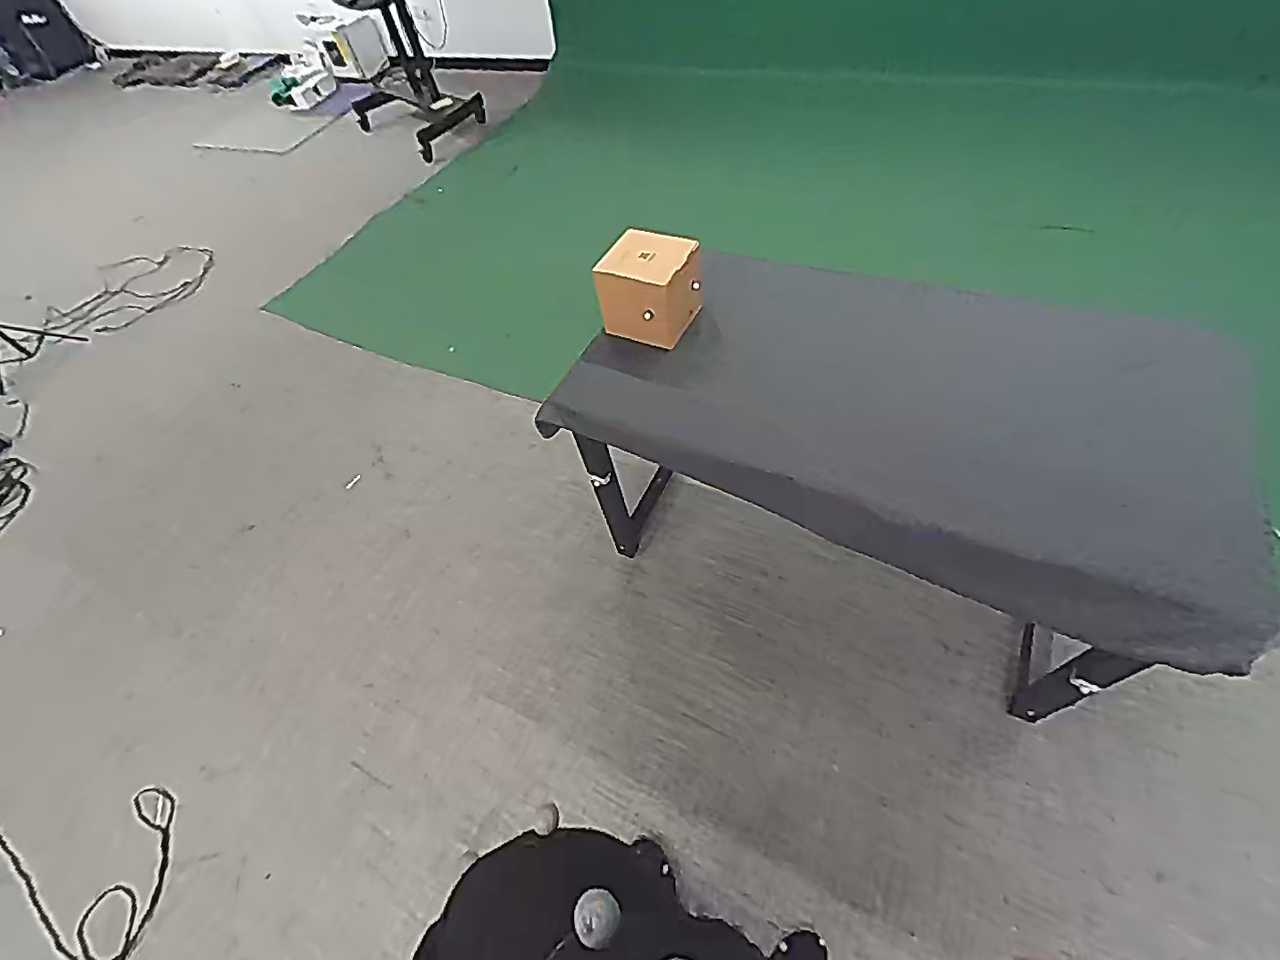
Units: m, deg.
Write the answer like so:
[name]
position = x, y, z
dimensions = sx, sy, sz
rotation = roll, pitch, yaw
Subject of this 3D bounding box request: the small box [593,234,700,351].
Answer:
[small box]
position = 0.023, -0.412, 1.199
dimensions = 0.179, 0.176, 0.168
rotation = 22, 59, 23
